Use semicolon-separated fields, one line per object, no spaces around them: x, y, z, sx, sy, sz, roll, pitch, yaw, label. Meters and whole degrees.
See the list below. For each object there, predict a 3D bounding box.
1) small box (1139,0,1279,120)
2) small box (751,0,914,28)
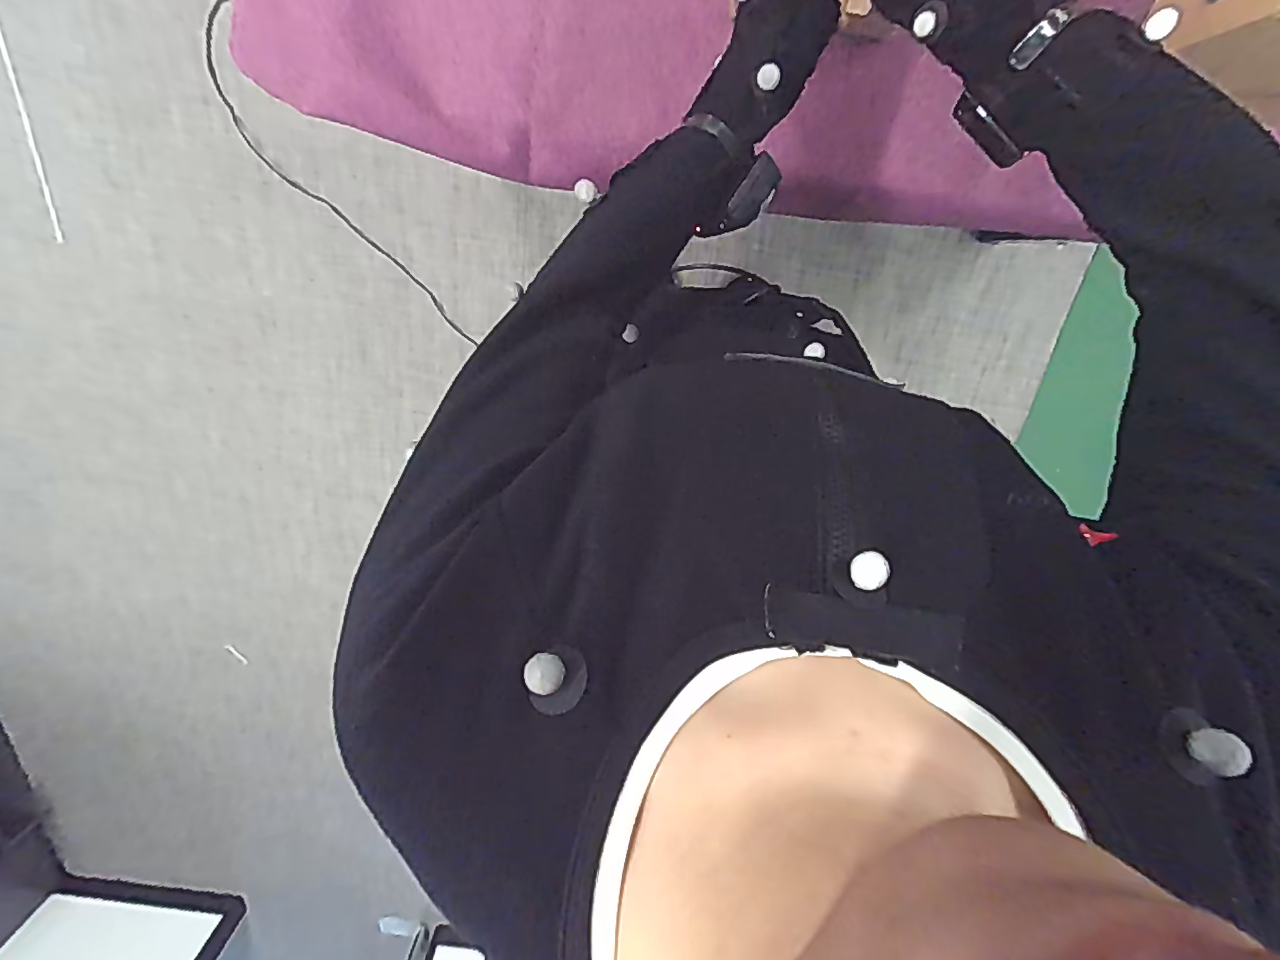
0.576;-0.426;0.438;0.168;0.176;0.179;18;113;-4;small box
0.177;-0.502;0.431;0.168;0.176;0.179;8;113;0;small box
